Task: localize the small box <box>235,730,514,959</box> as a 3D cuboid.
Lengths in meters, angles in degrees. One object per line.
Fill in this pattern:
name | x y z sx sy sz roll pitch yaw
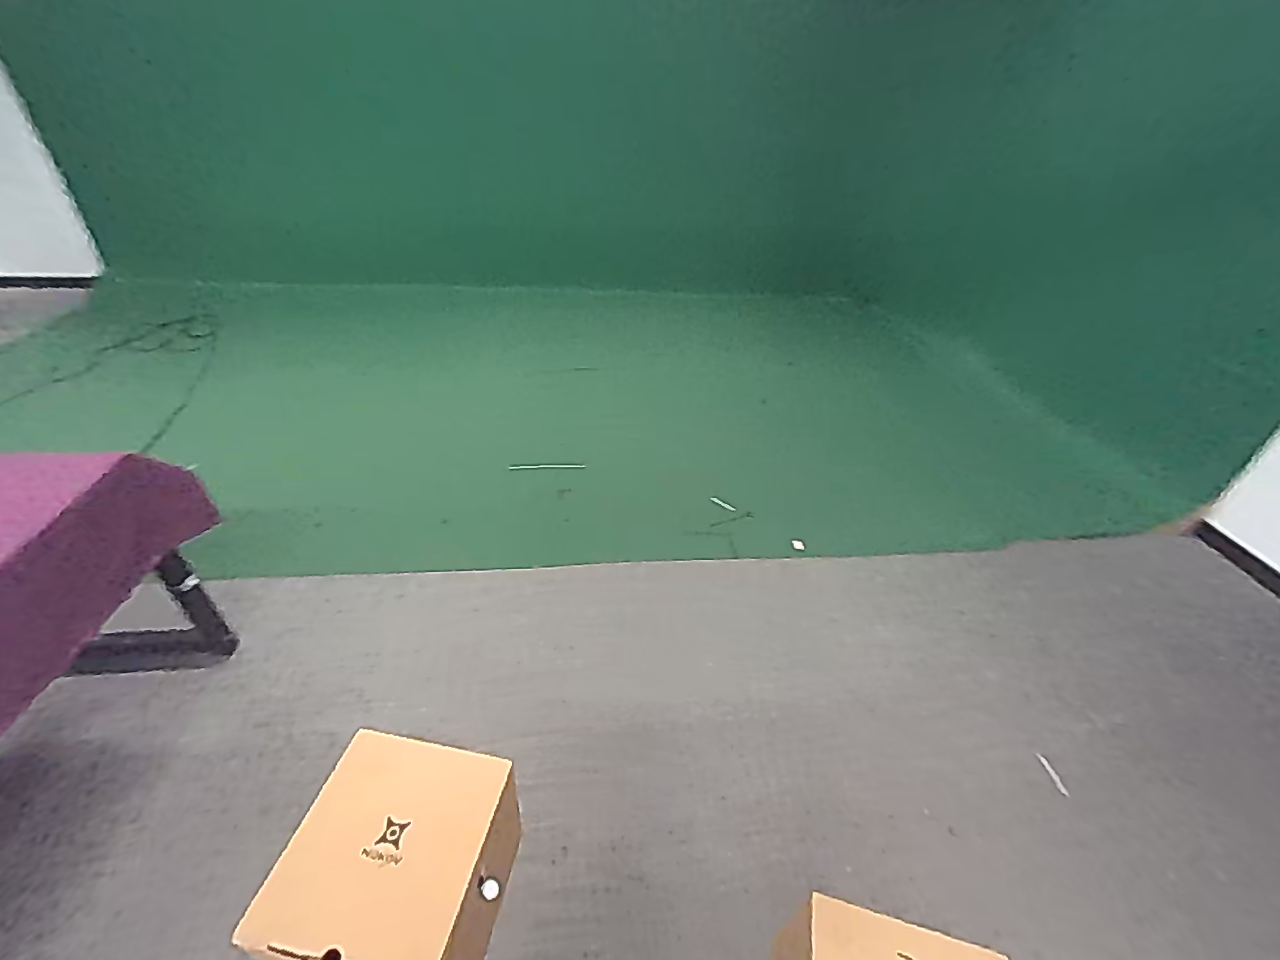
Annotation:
small box | -0.228 0.381 0.524 0.168 0.176 0.179 9 37 5
